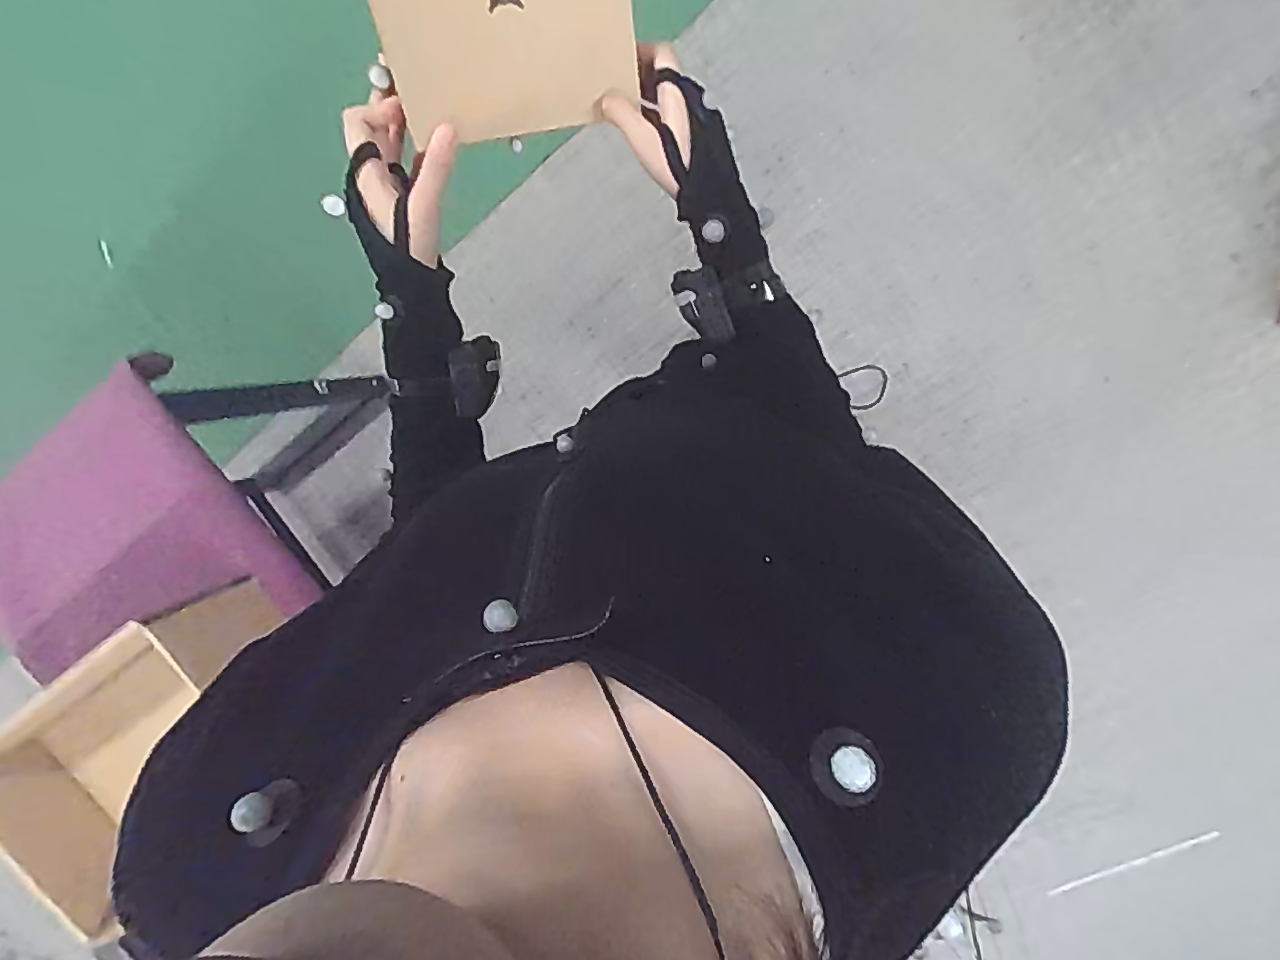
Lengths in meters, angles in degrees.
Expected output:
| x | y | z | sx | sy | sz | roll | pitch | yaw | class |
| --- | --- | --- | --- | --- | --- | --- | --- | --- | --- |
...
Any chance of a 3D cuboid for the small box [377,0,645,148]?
| x | y | z | sx | sy | sz | roll | pitch | yaw | class |
| --- | --- | --- | --- | --- | --- | --- | --- | --- | --- |
| -0.104 | -0.359 | 0.397 | 0.168 | 0.176 | 0.179 | -16 | 125 | -11 | small box |
